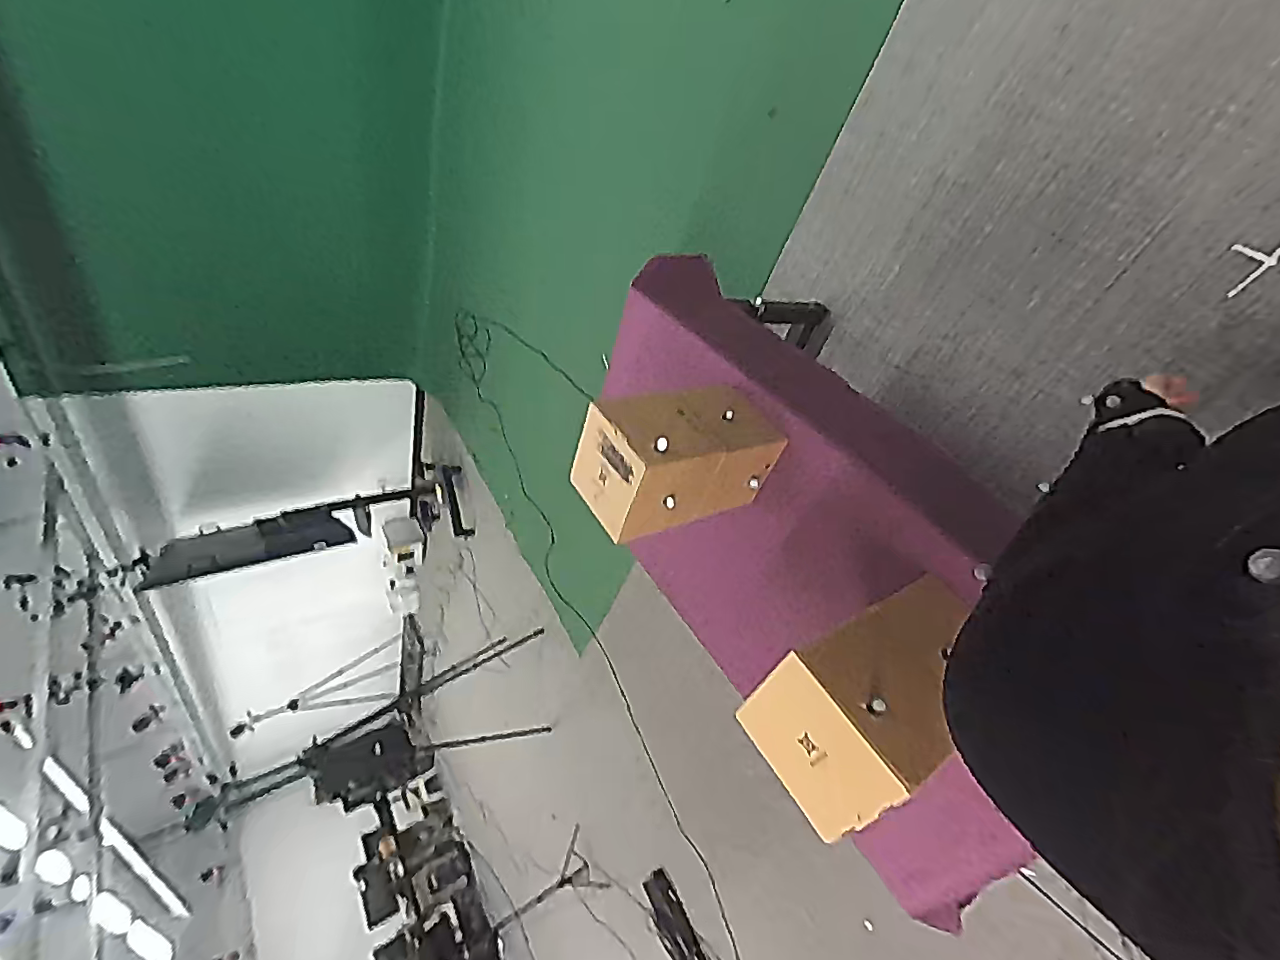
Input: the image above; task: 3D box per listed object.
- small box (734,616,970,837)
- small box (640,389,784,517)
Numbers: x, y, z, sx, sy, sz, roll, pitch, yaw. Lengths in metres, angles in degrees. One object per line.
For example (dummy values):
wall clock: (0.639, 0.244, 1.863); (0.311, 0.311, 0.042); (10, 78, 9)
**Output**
small box: (0.258, 0.291, 0.676); (0.179, 0.176, 0.168); (51, 136, 31)
small box: (0.134, -0.059, 1.024); (0.179, 0.176, 0.168); (51, 136, 31)
